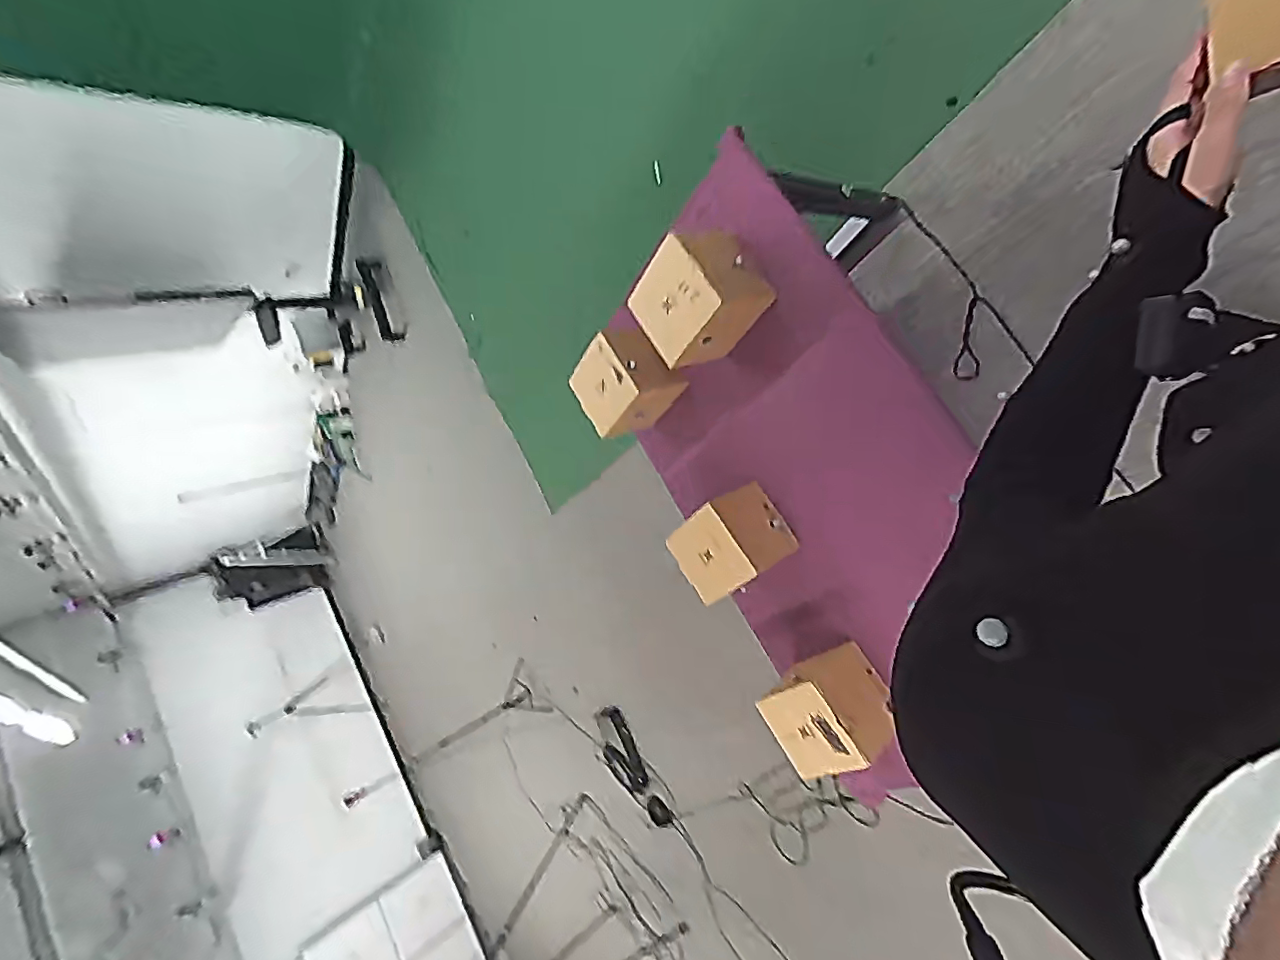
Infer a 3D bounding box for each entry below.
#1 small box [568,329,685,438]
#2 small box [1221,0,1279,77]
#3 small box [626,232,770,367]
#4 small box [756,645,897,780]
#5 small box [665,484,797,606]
[{"bbox_3d":[-0.029,-0.222,1.231,0.168,0.176,0.179,58,138,13],"label":"small box"},{"bbox_3d":[0.537,-0.422,0.381,0.168,0.176,0.179,1,114,52],"label":"small box"},{"bbox_3d":[0.110,-0.341,1.027,0.168,0.176,0.179,58,139,13],"label":"small box"},{"bbox_3d":[0.370,0.449,1.057,0.168,0.176,0.179,57,138,15],"label":"small box"},{"bbox_3d":[0.191,0.133,1.132,0.168,0.176,0.179,56,137,14],"label":"small box"}]
